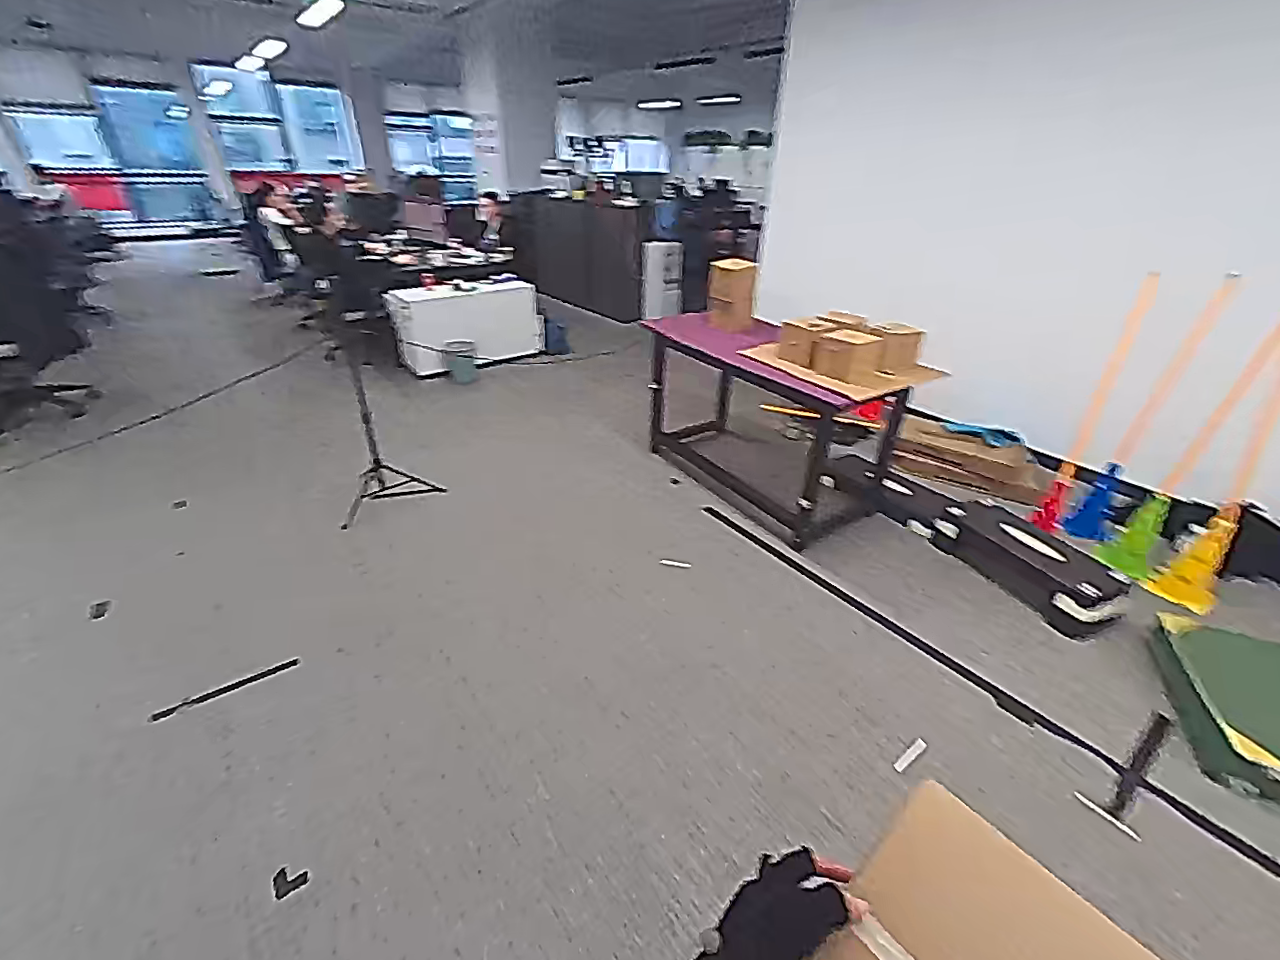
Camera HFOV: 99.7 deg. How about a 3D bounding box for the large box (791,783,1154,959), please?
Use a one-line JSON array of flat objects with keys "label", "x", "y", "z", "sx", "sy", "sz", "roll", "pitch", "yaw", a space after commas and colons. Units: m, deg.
[{"label": "large box", "x": 0.315, "y": 0.578, "z": 0.460, "sx": 0.320, "sy": 0.320, "sz": 0.408, "roll": -30, "pitch": 47, "yaw": -29}]
